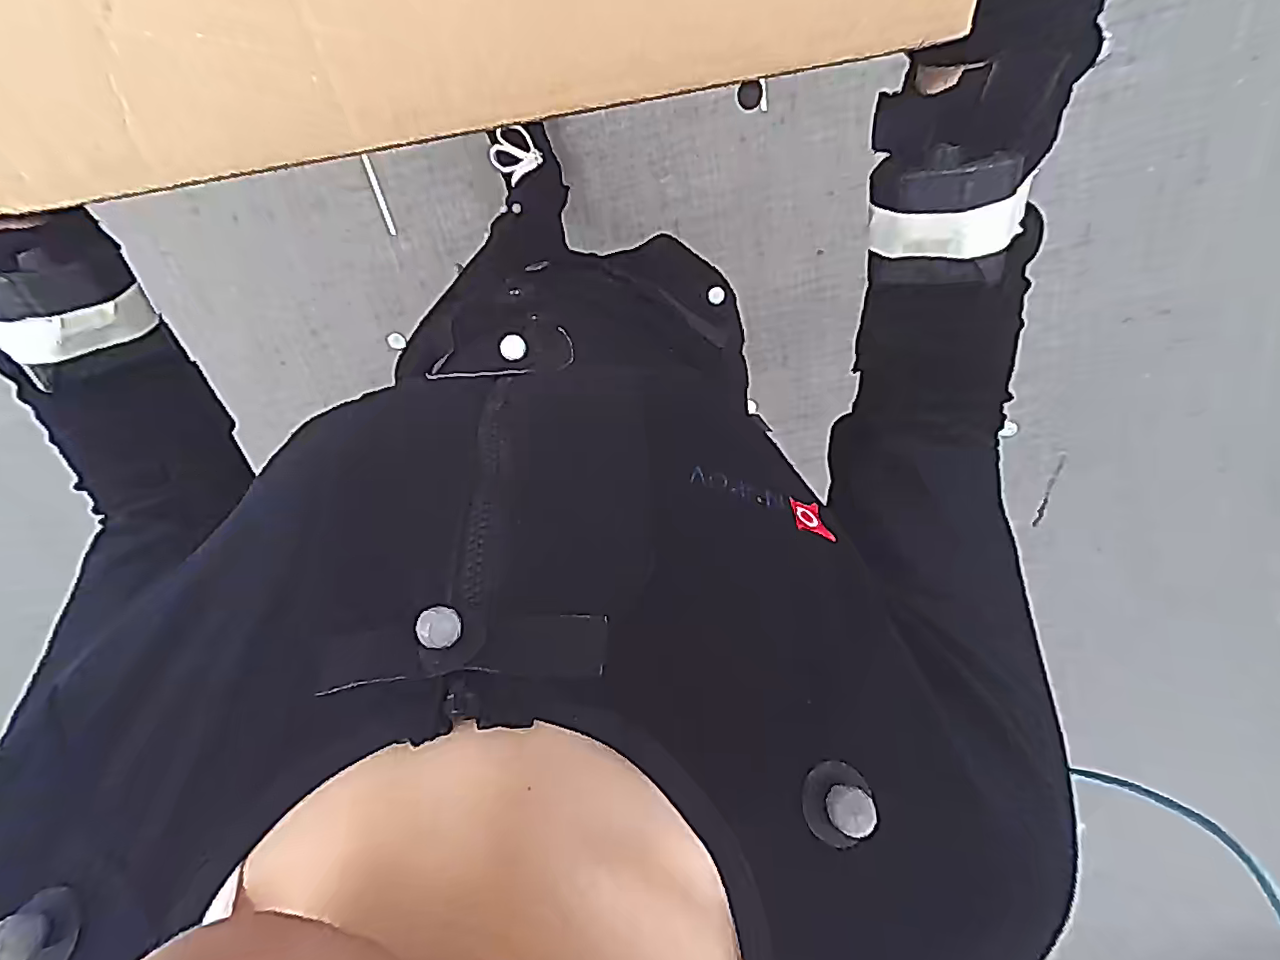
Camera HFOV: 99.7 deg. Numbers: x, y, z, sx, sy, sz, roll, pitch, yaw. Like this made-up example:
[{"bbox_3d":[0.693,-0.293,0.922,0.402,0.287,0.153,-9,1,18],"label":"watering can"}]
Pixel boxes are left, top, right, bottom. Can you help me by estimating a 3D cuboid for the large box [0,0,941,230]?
[{"bbox_3d":[-0.107,-0.351,0.244,0.408,0.320,0.320,-8,129,4],"label":"large box"}]
